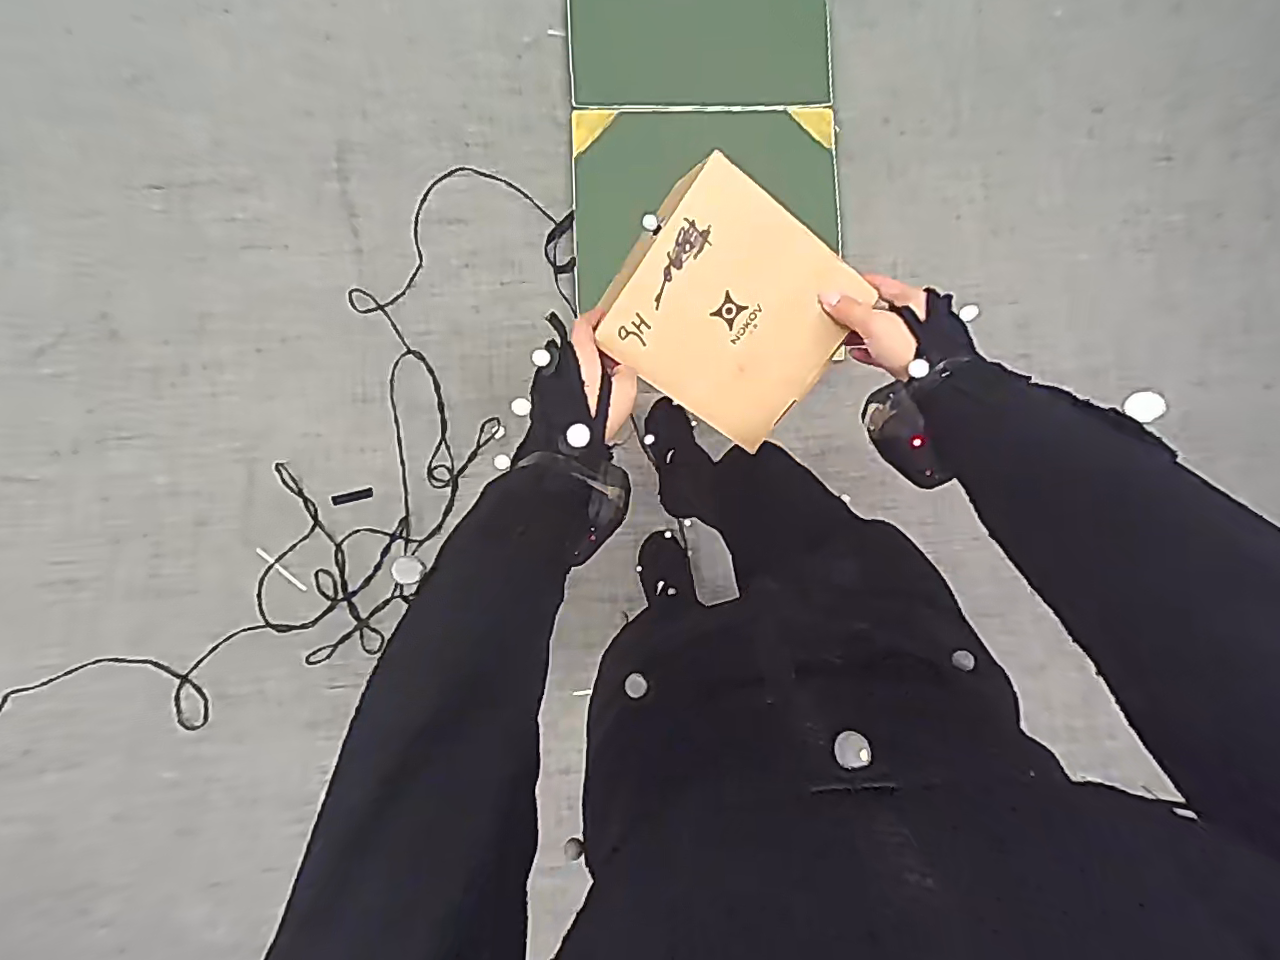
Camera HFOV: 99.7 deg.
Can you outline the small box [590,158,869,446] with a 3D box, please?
[{"bbox_3d":[0.069,-0.166,0.516,0.179,0.176,0.168,32,106,-17],"label":"small box"}]
